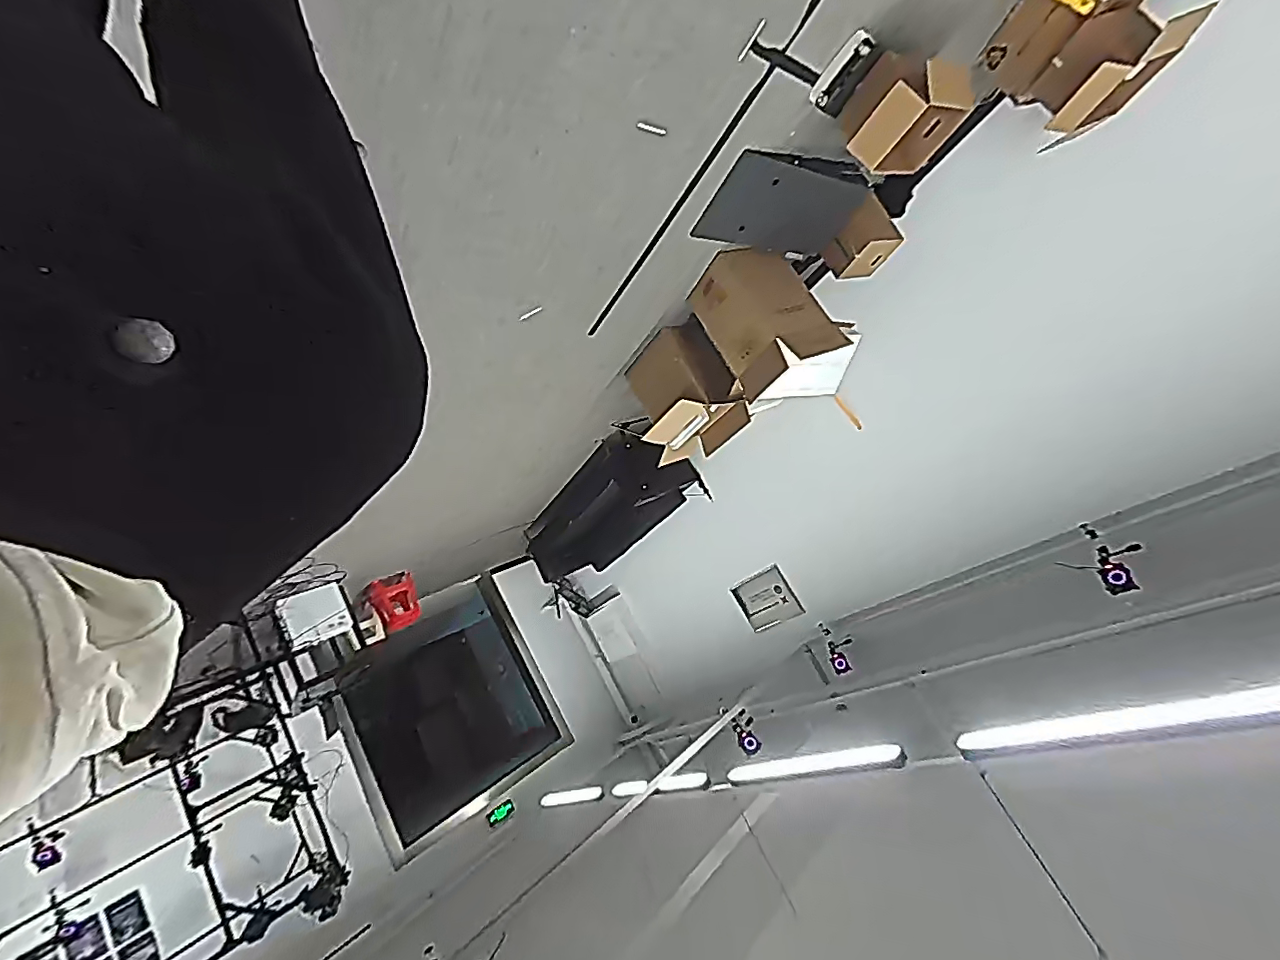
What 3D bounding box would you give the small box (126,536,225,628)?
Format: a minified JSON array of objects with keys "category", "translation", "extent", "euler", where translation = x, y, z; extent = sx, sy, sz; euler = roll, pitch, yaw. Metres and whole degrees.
[{"category":"small box","translation":[-1.275,0.278,1.491],"extent":[0.168,0.176,0.179],"euler":[-21,164,-41]}]
